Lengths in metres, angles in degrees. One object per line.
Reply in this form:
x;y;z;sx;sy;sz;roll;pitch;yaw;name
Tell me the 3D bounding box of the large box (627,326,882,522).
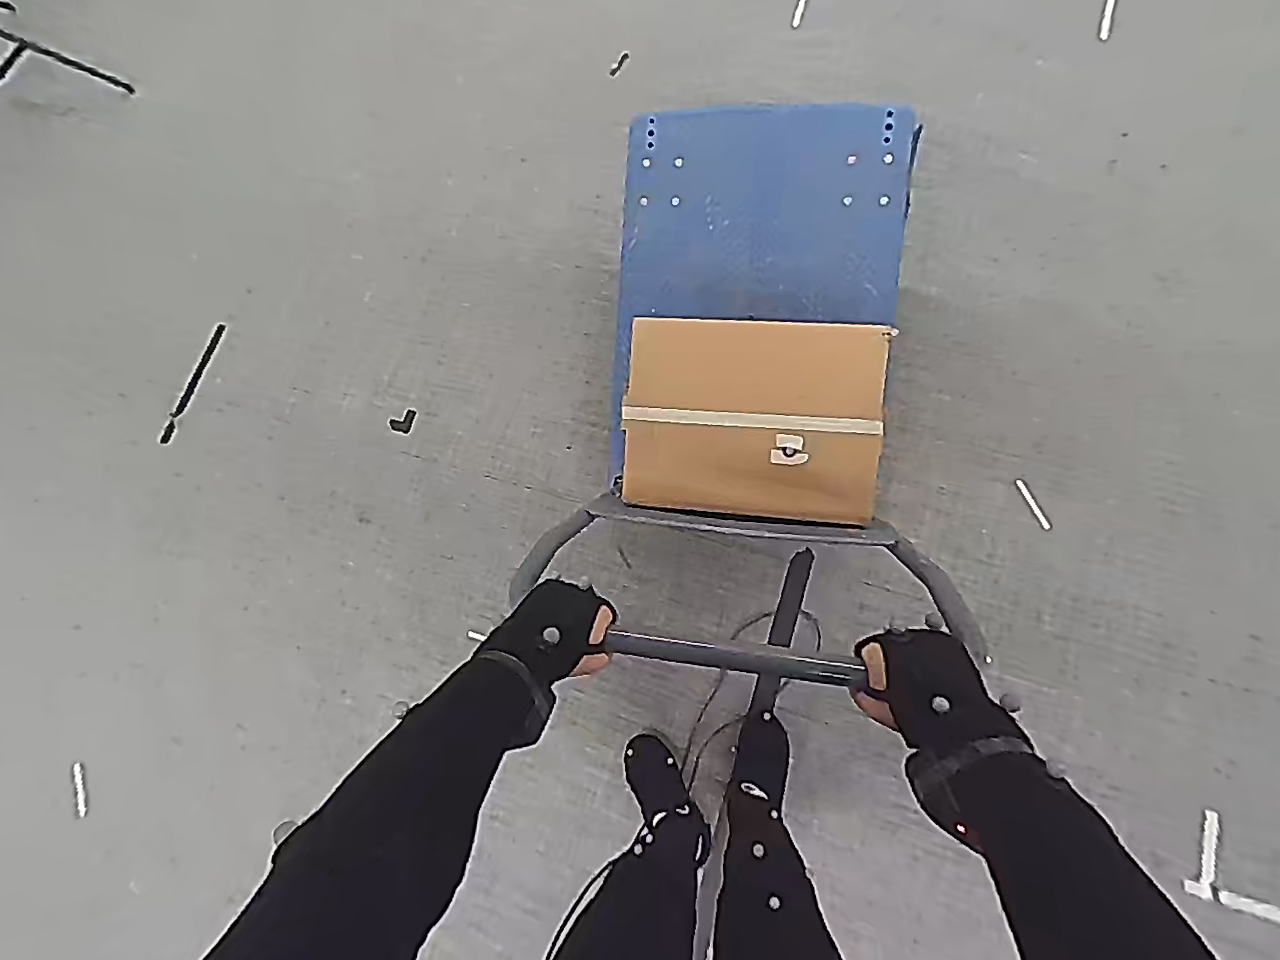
0.200;-0.105;1.038;0.408;0.320;0.320;4;96;9;large box
